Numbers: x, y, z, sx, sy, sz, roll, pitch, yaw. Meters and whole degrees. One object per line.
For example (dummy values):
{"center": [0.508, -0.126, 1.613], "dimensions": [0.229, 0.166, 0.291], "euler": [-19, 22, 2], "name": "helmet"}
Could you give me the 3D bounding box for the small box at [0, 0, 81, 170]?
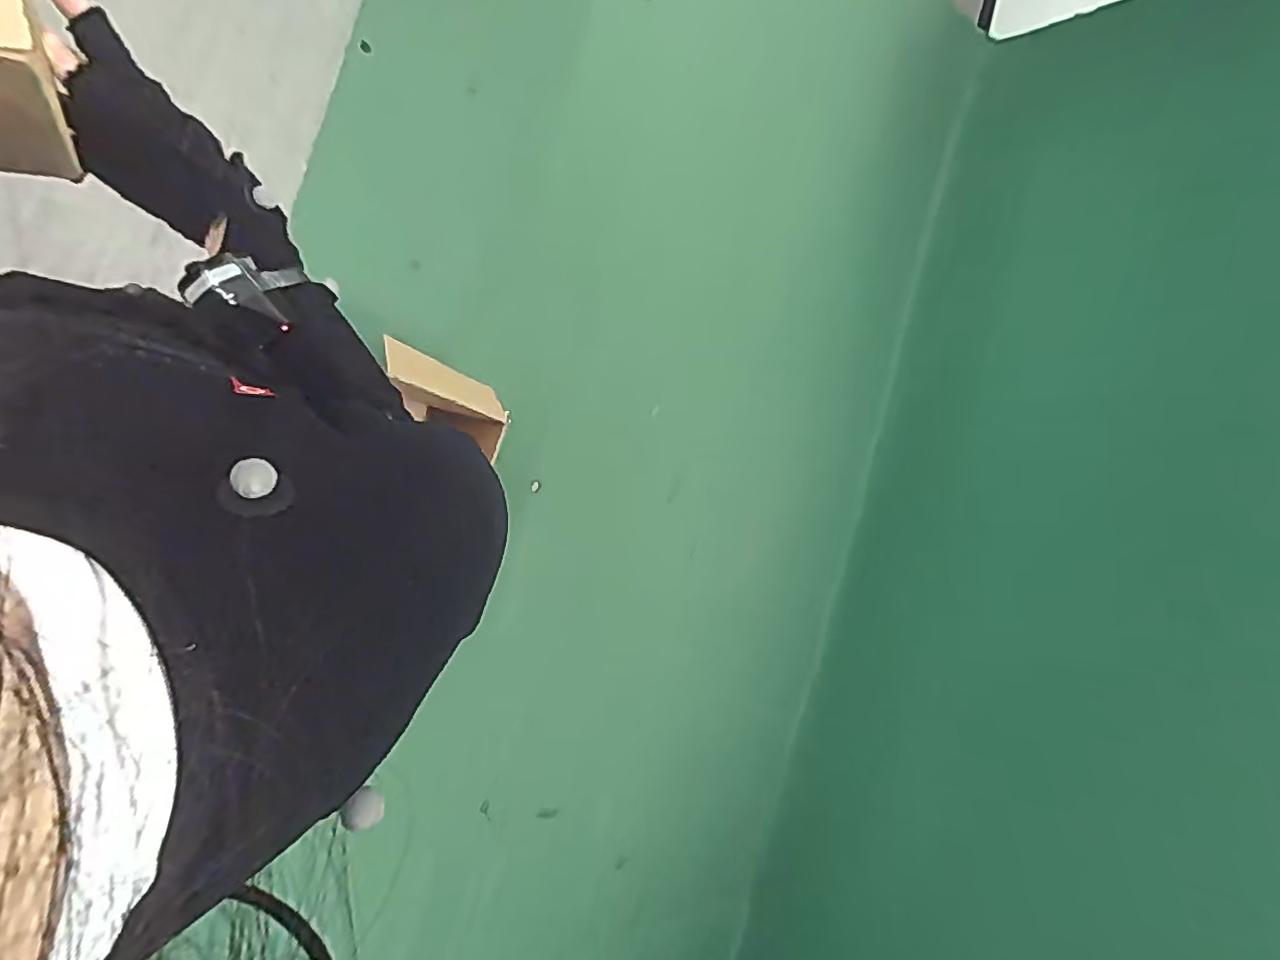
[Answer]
{"center": [-0.400, -0.268, 0.248], "dimensions": [0.168, 0.176, 0.179], "euler": [-17, 106, -39], "name": "small box"}
